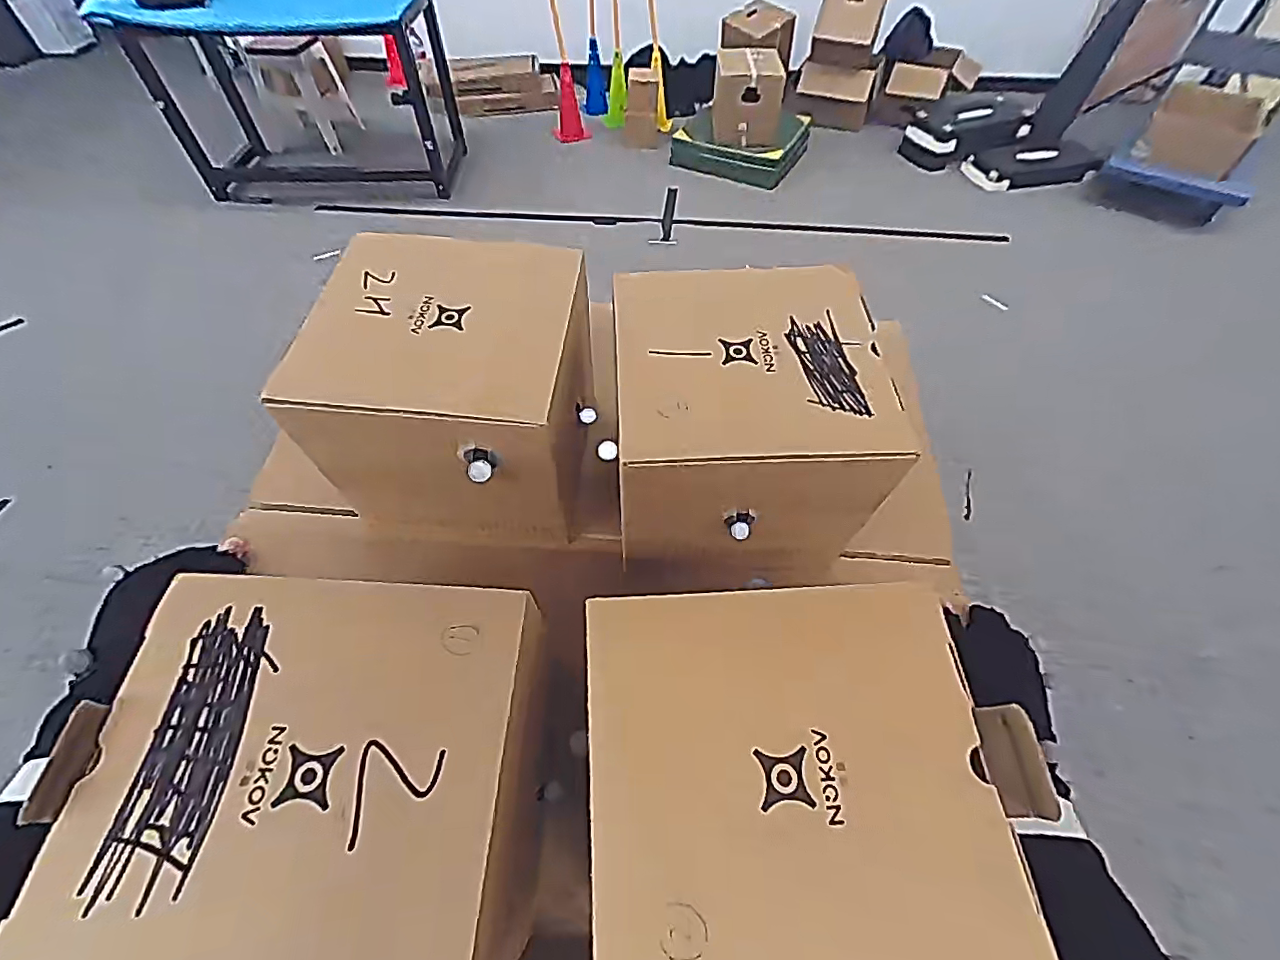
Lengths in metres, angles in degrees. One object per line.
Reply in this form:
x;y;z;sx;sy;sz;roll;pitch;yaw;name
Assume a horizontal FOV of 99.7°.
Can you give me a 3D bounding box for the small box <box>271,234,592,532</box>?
-0.137;-0.069;0.442;0.179;0.176;0.168;6;58;2;small box
